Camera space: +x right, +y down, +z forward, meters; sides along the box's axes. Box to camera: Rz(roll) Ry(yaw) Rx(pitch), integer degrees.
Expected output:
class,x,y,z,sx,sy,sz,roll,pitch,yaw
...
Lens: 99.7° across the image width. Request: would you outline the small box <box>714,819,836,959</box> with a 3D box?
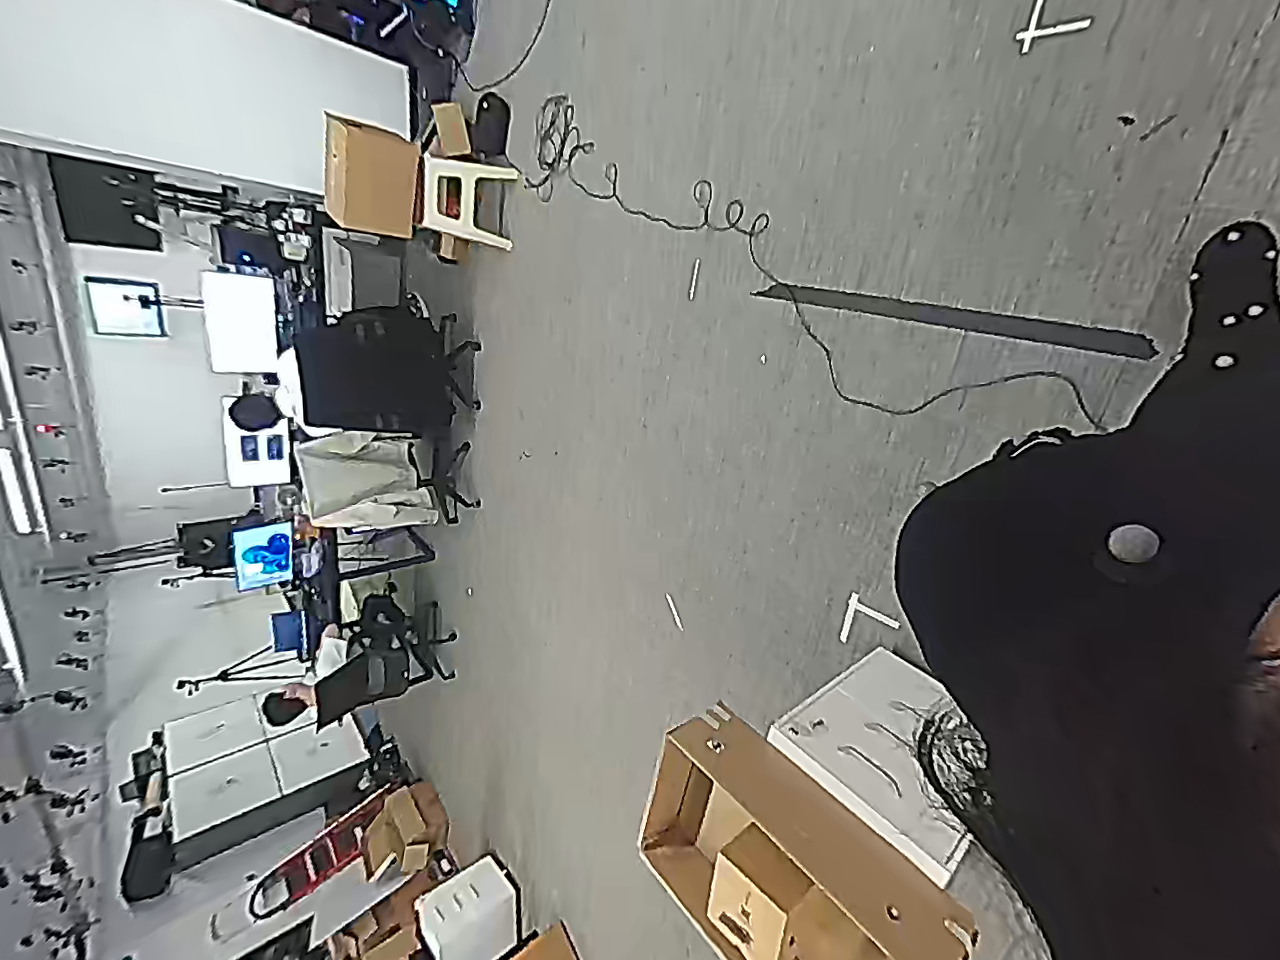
class,x,y,z,sx,sy,sz,roll,pitch,yaw
small box,0.274,0.843,1.091,0.168,0.176,0.179,20,110,45
